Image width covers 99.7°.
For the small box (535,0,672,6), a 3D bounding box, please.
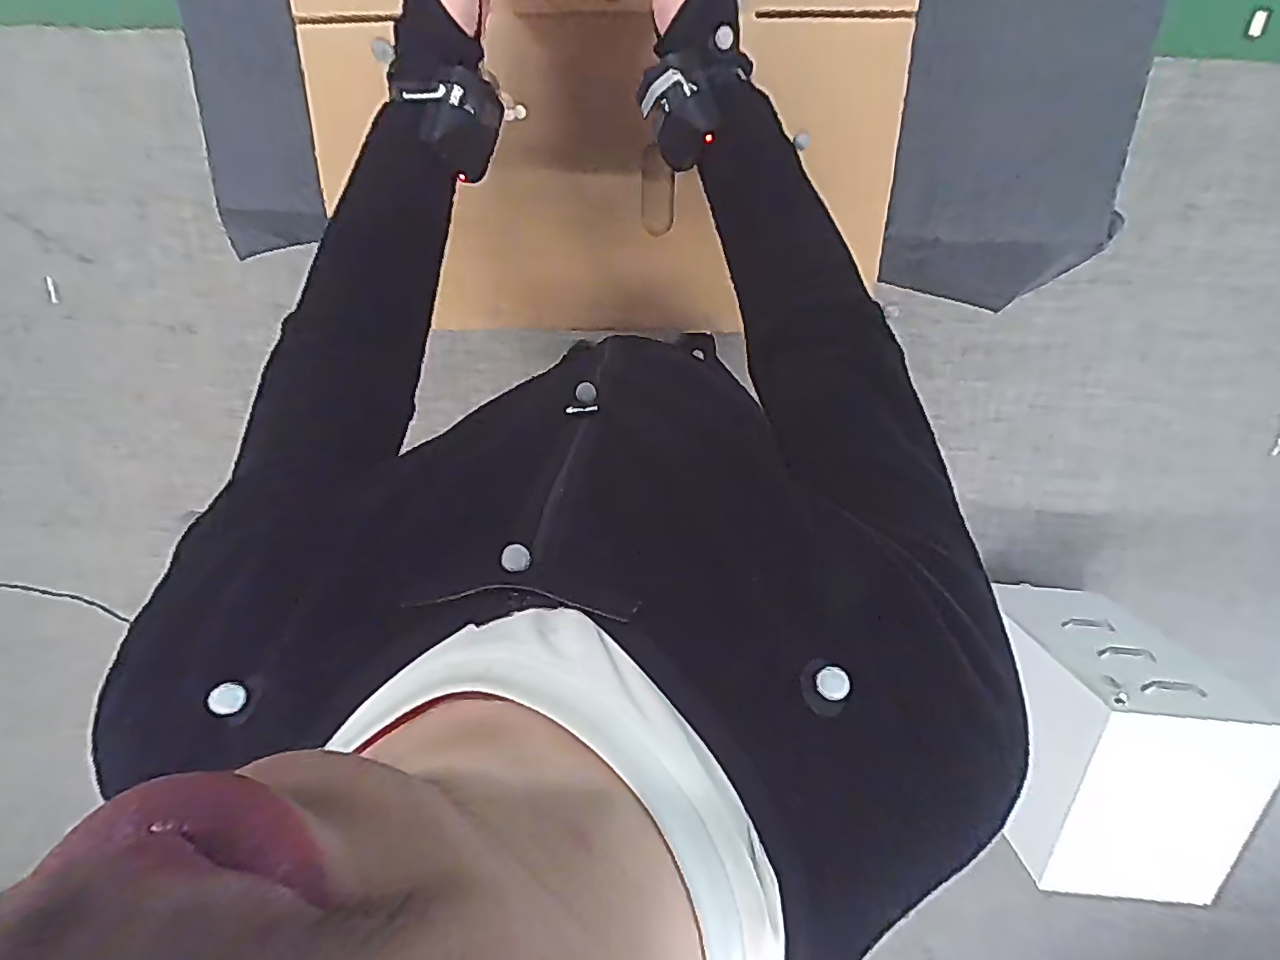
[{"bbox_3d":[-0.042,-0.512,0.424,0.168,0.176,0.179,-1,110,3],"label":"small box"}]
